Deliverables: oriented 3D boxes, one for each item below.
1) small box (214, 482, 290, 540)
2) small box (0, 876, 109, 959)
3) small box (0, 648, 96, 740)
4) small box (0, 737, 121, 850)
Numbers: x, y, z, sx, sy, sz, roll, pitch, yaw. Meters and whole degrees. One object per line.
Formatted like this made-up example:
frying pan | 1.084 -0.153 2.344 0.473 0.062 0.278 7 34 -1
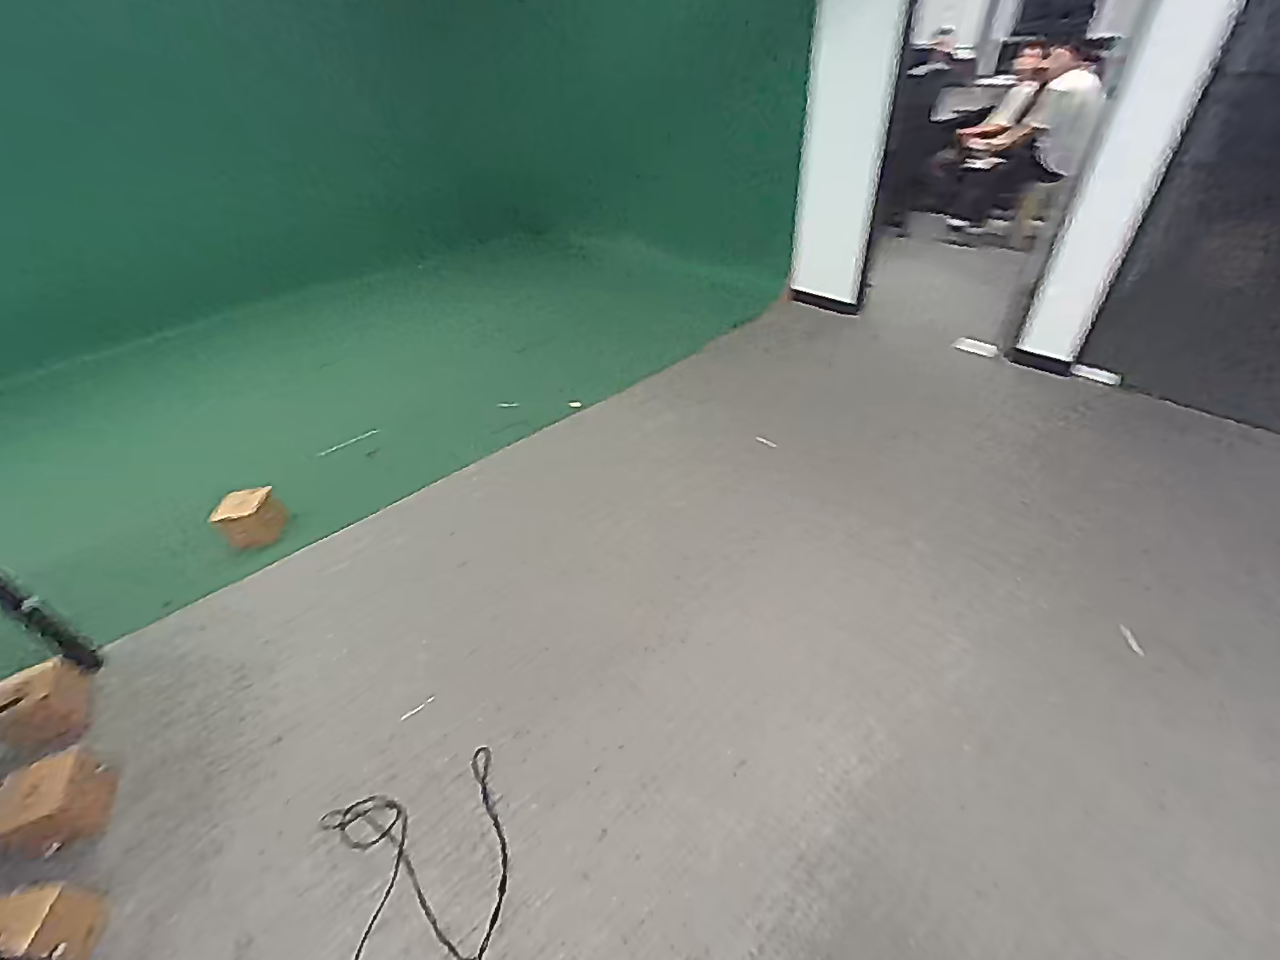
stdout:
small box | -1.603 0.134 2.248 0.168 0.176 0.179 -7 40 -2
small box | -1.345 0.998 1.183 0.179 0.176 0.168 -8 40 -3
small box | -1.811 0.656 1.639 0.168 0.176 0.179 -26 43 -24
small box | -1.520 0.820 1.414 0.168 0.176 0.179 -21 44 -17
